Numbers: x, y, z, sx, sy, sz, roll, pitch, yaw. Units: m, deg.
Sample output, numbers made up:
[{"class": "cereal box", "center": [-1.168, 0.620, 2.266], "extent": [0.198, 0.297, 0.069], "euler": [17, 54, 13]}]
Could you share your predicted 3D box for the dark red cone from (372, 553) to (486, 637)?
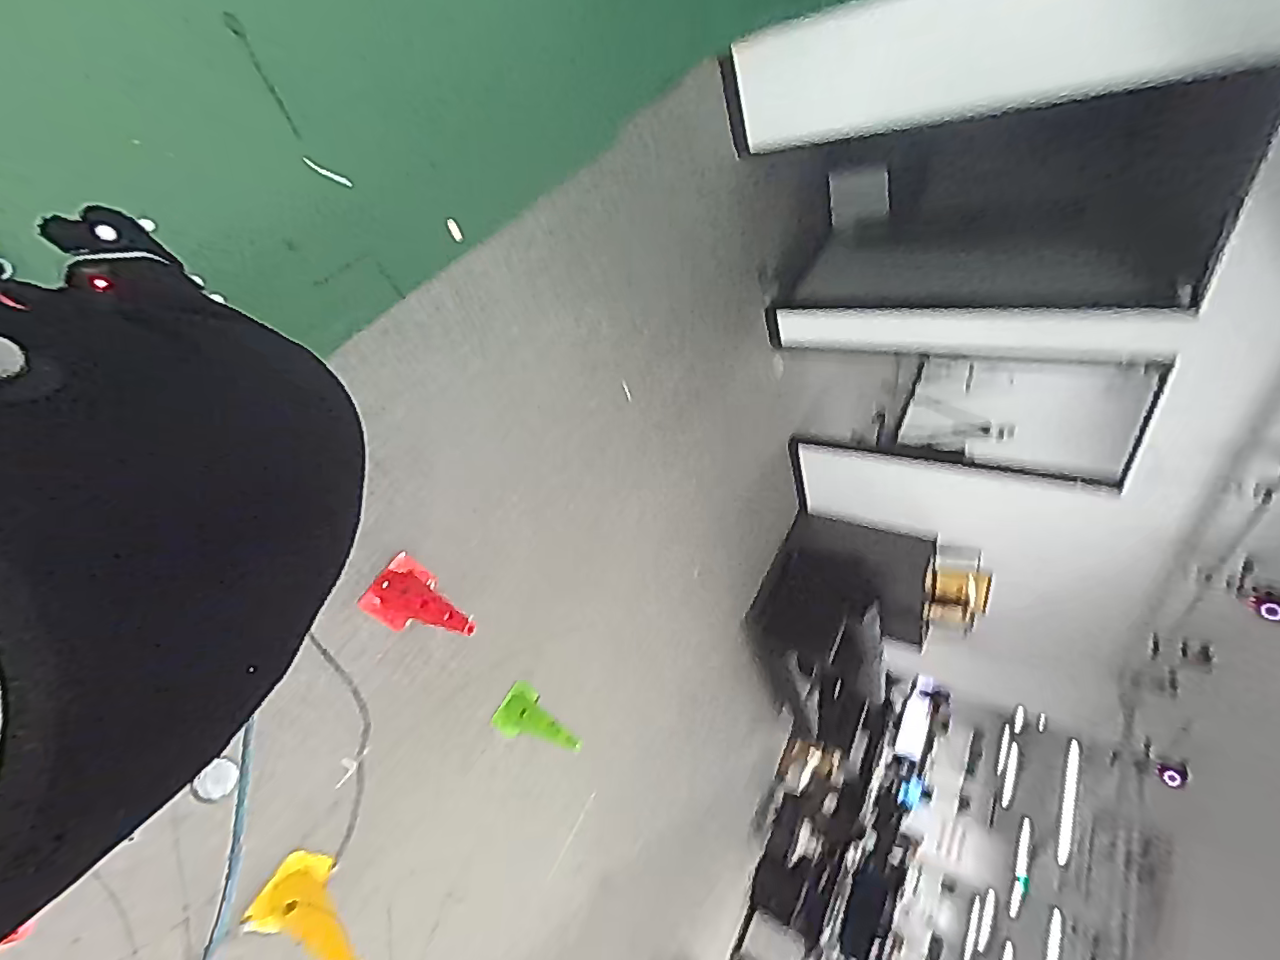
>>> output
[{"class": "dark red cone", "center": [-0.593, 0.381, 1.613], "extent": [0.202, 0.394, 0.201], "euler": [-59, 140, -25]}]

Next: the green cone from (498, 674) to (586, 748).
[{"class": "green cone", "center": [-0.359, 0.970, 2.176], "extent": [0.202, 0.368, 0.200], "euler": [-55, 139, -27]}]
